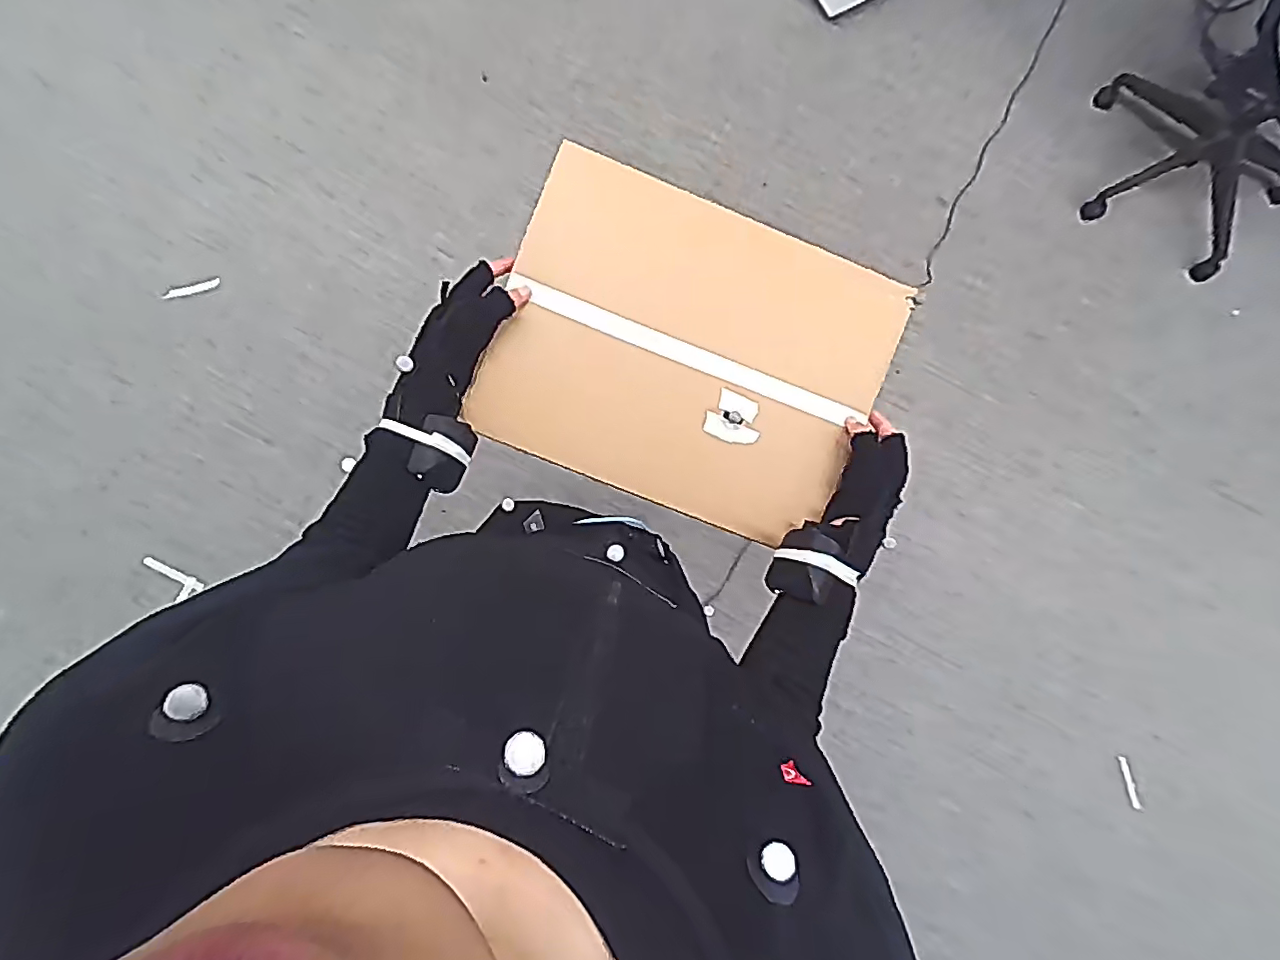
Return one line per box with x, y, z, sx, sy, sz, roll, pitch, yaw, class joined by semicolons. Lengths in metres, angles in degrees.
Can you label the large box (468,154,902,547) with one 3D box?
0.043;-0.140;0.731;0.408;0.320;0.320;22;92;-4;large box
